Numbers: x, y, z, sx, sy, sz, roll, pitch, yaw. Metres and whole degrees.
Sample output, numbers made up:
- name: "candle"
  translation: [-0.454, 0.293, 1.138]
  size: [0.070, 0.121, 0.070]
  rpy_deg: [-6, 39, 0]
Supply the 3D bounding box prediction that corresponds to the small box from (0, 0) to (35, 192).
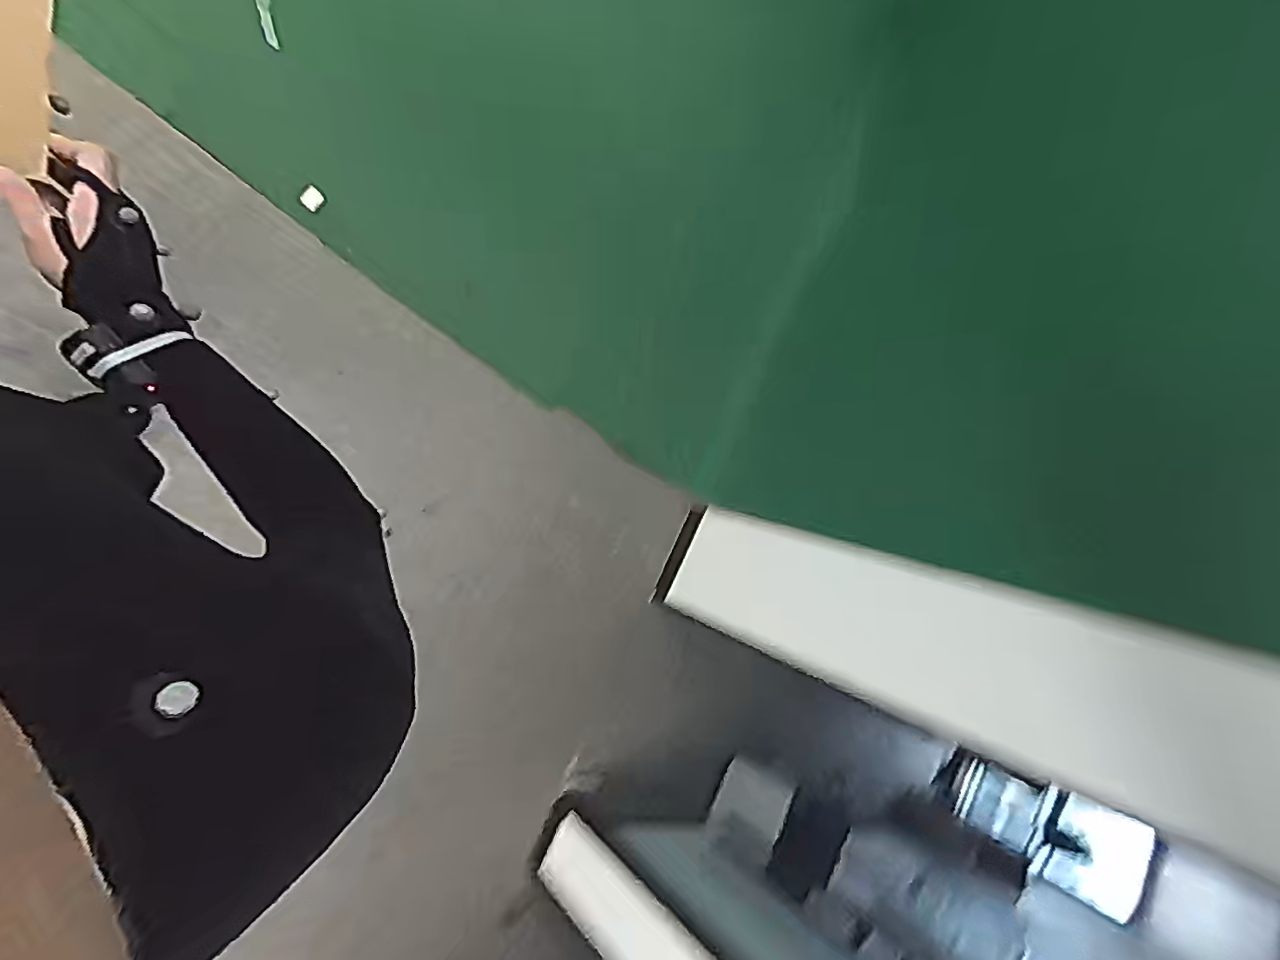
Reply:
- name: "small box"
  translation: [-0.592, -0.346, 0.417]
  size: [0.168, 0.176, 0.179]
  rpy_deg: [-2, 103, -50]
